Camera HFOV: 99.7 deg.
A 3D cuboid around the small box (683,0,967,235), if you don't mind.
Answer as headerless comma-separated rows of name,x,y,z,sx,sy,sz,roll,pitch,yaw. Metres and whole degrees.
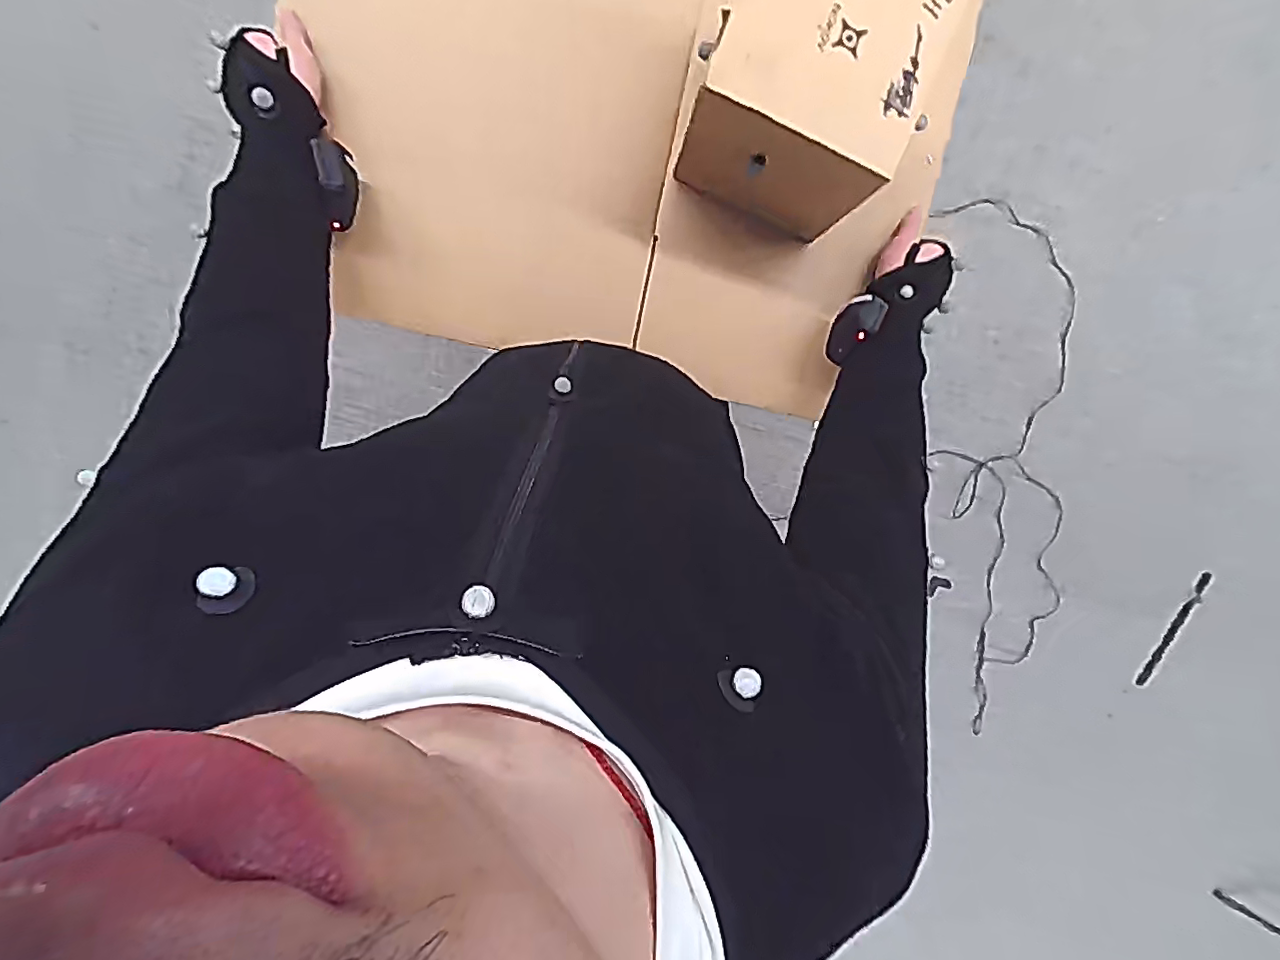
small box,0.154,-0.364,0.518,0.179,0.176,0.168,22,95,-6
